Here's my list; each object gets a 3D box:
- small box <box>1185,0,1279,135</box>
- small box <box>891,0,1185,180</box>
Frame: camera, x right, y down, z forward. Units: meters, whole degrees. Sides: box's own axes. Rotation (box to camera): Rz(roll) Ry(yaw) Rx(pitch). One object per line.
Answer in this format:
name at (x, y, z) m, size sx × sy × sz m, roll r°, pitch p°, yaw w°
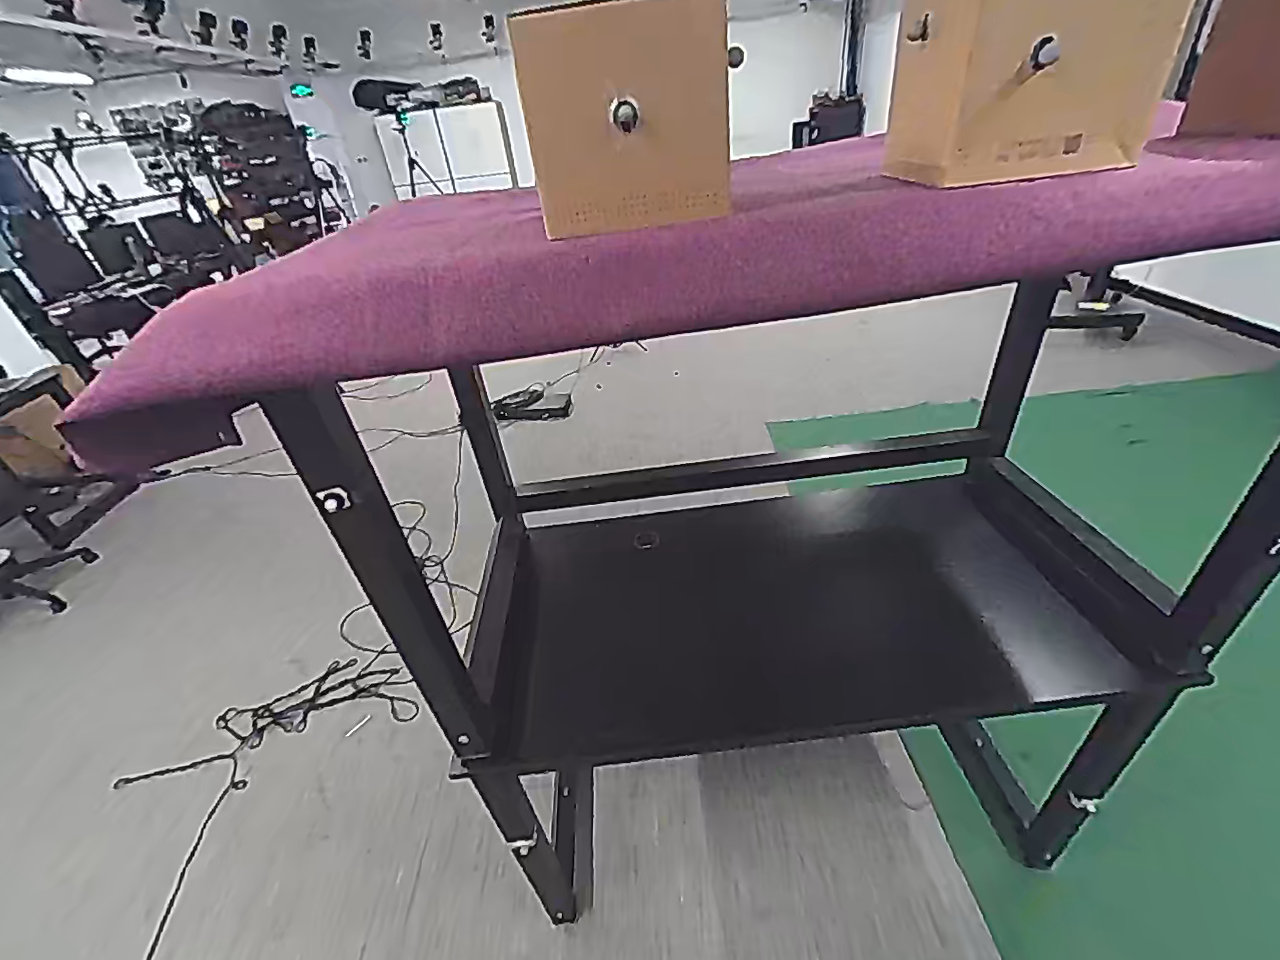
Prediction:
small box at (0.691, -0.433, 0.503) m, size 0.168 × 0.176 × 0.179 m, roll -8°, pitch 32°, yaw 0°
small box at (0.353, -0.385, 0.503) m, size 0.168 × 0.176 × 0.179 m, roll -4°, pitch 32°, yaw 5°
